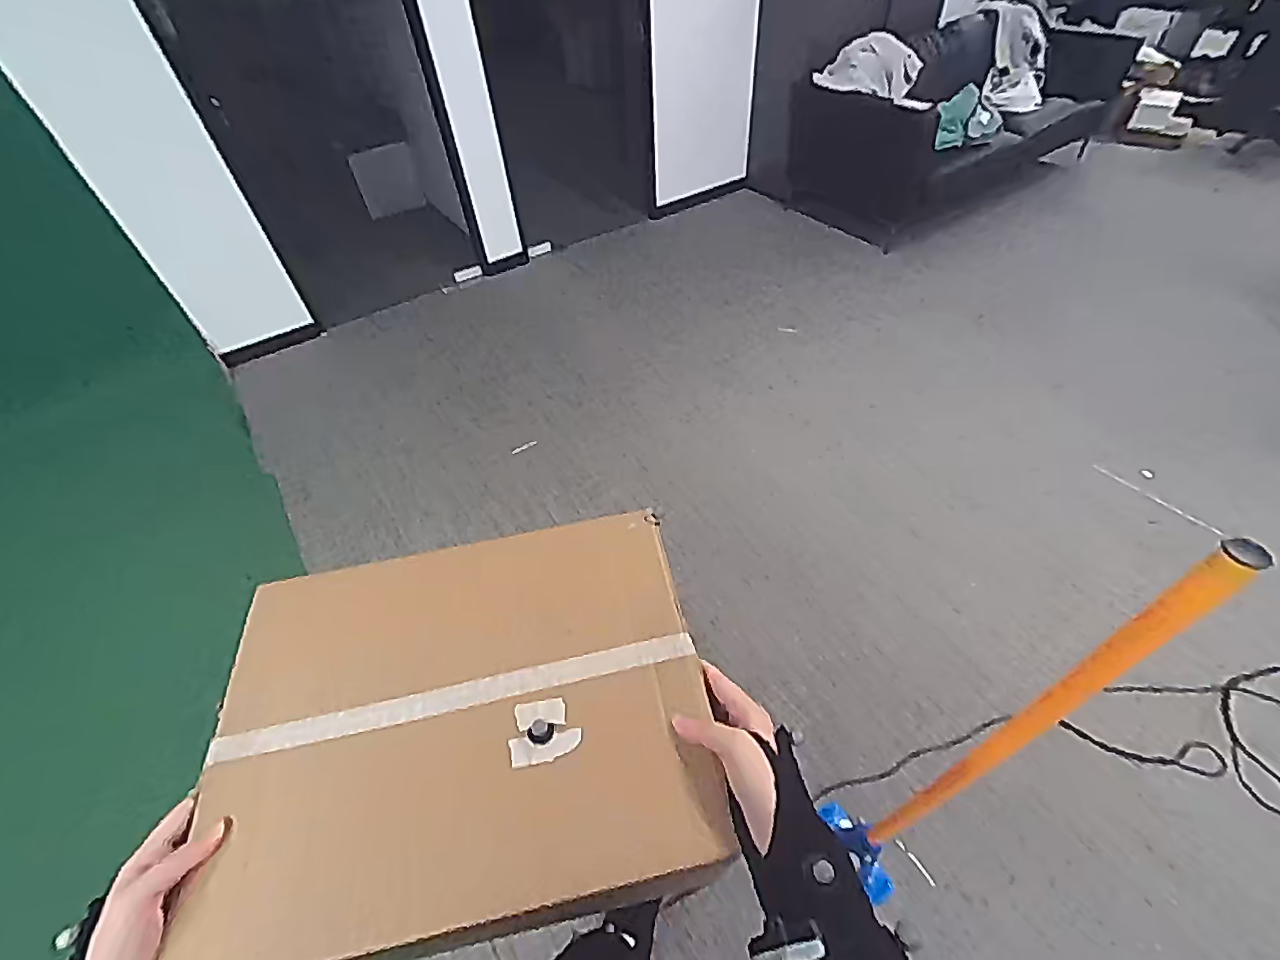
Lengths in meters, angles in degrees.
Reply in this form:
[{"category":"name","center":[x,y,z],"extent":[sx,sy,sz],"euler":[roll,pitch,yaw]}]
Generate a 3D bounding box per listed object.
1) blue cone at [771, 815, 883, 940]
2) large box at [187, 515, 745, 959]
[{"category":"blue cone","center":[0.407,0.767,1.086],"extent":[0.192,0.380,0.193],"euler":[-21,49,-14]},{"category":"large box","center":[-0.141,0.284,0.589],"extent":[0.408,0.320,0.320],"euler":[-10,51,-7]}]
